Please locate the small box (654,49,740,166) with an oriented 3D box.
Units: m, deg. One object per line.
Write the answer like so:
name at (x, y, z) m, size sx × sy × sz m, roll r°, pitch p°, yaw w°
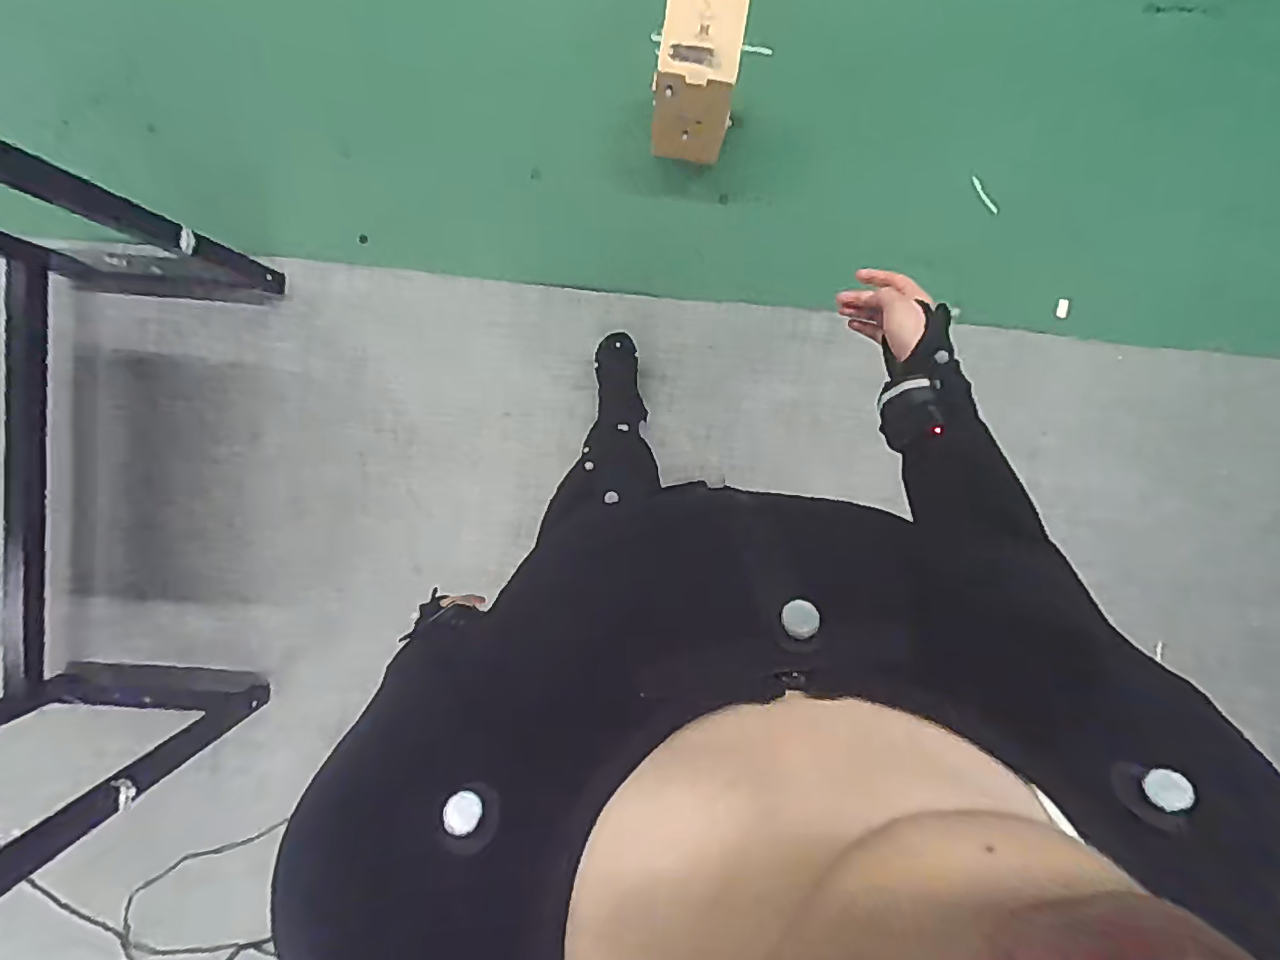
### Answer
small box at (0.134, -0.906, 1.333) m, size 0.179 × 0.176 × 0.168 m, roll 9°, pitch 94°, yaw -1°
